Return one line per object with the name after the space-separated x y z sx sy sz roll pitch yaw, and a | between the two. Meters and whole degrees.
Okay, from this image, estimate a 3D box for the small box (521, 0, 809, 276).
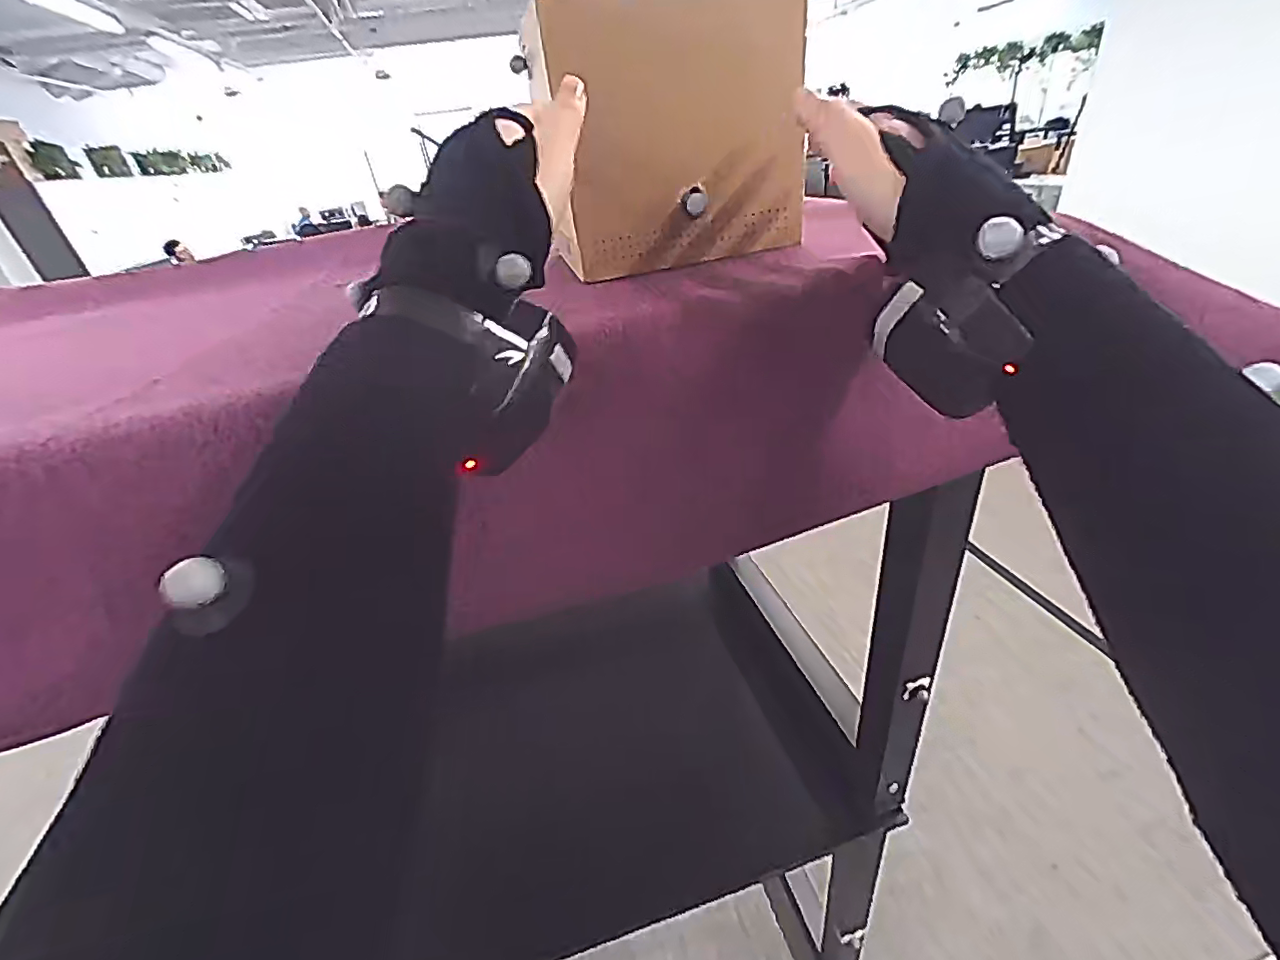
0.013 -0.273 0.429 0.179 0.176 0.168 -13 31 -8 | small box
